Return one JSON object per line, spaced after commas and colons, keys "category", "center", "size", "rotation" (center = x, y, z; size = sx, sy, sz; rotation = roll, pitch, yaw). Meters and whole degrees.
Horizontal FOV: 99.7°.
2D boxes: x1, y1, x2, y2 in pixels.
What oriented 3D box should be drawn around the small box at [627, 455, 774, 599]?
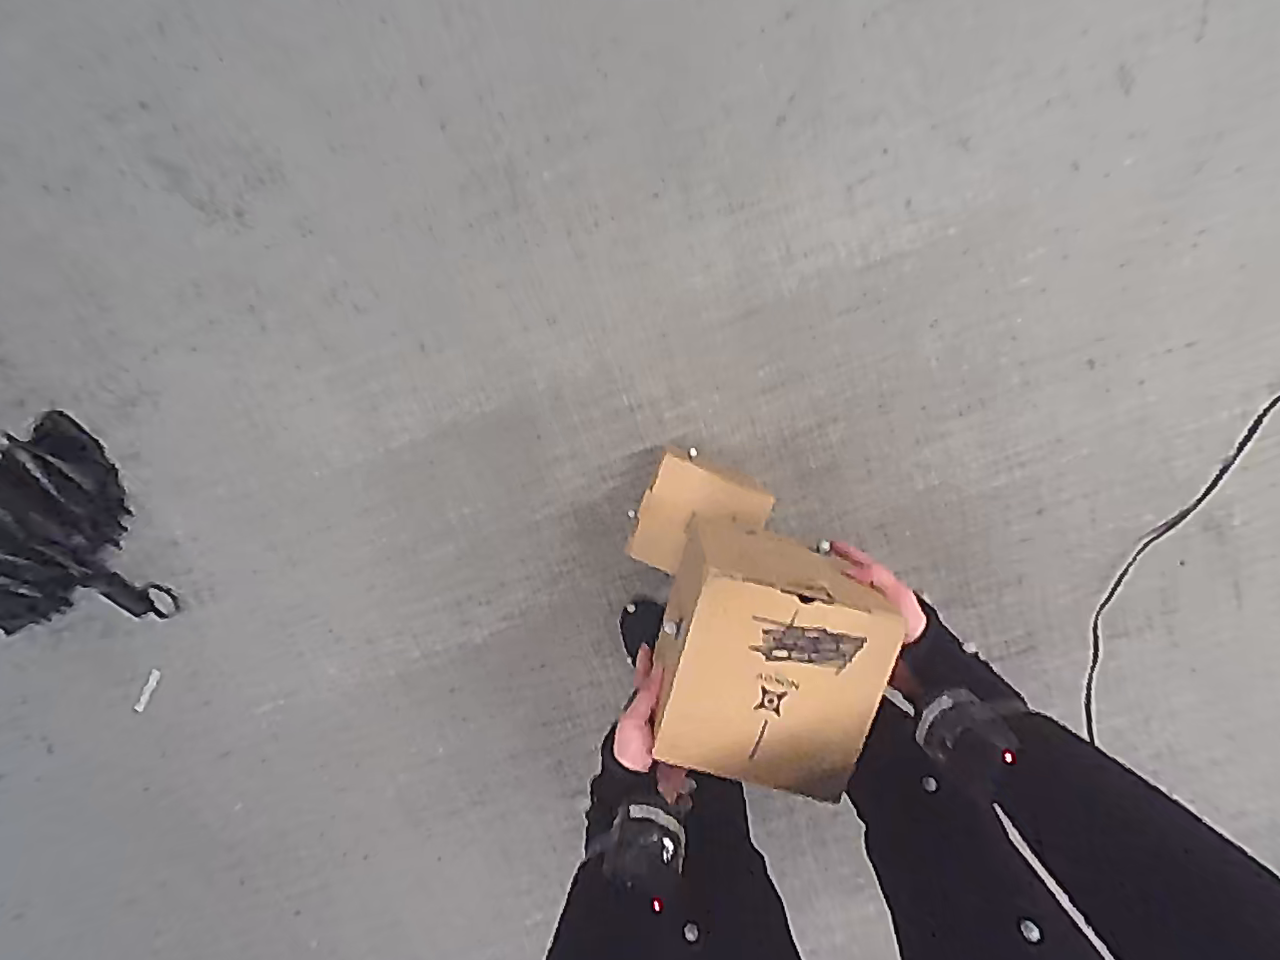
{"category": "small box", "center": [0.091, 0.065, 0.881], "size": [0.179, 0.176, 0.168], "rotation": [21, 99, -2]}
